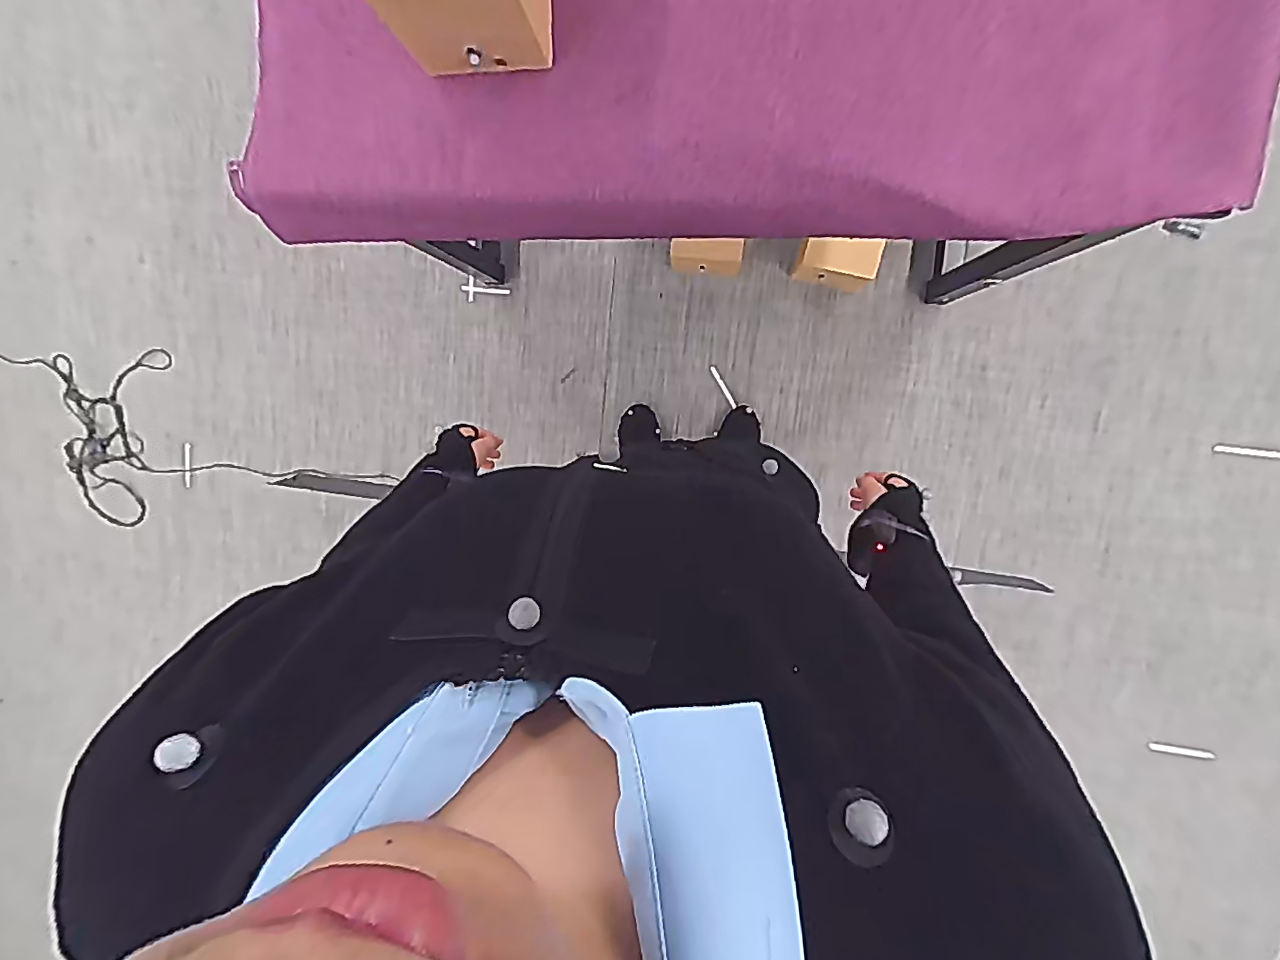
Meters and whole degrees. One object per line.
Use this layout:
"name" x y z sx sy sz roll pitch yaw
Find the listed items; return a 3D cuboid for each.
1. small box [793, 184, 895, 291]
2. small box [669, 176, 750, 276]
"small box" 0.470 -0.562 1.278 0.168 0.176 0.179 14 99 5
"small box" 0.165 -0.604 1.304 0.168 0.176 0.179 7 99 5
